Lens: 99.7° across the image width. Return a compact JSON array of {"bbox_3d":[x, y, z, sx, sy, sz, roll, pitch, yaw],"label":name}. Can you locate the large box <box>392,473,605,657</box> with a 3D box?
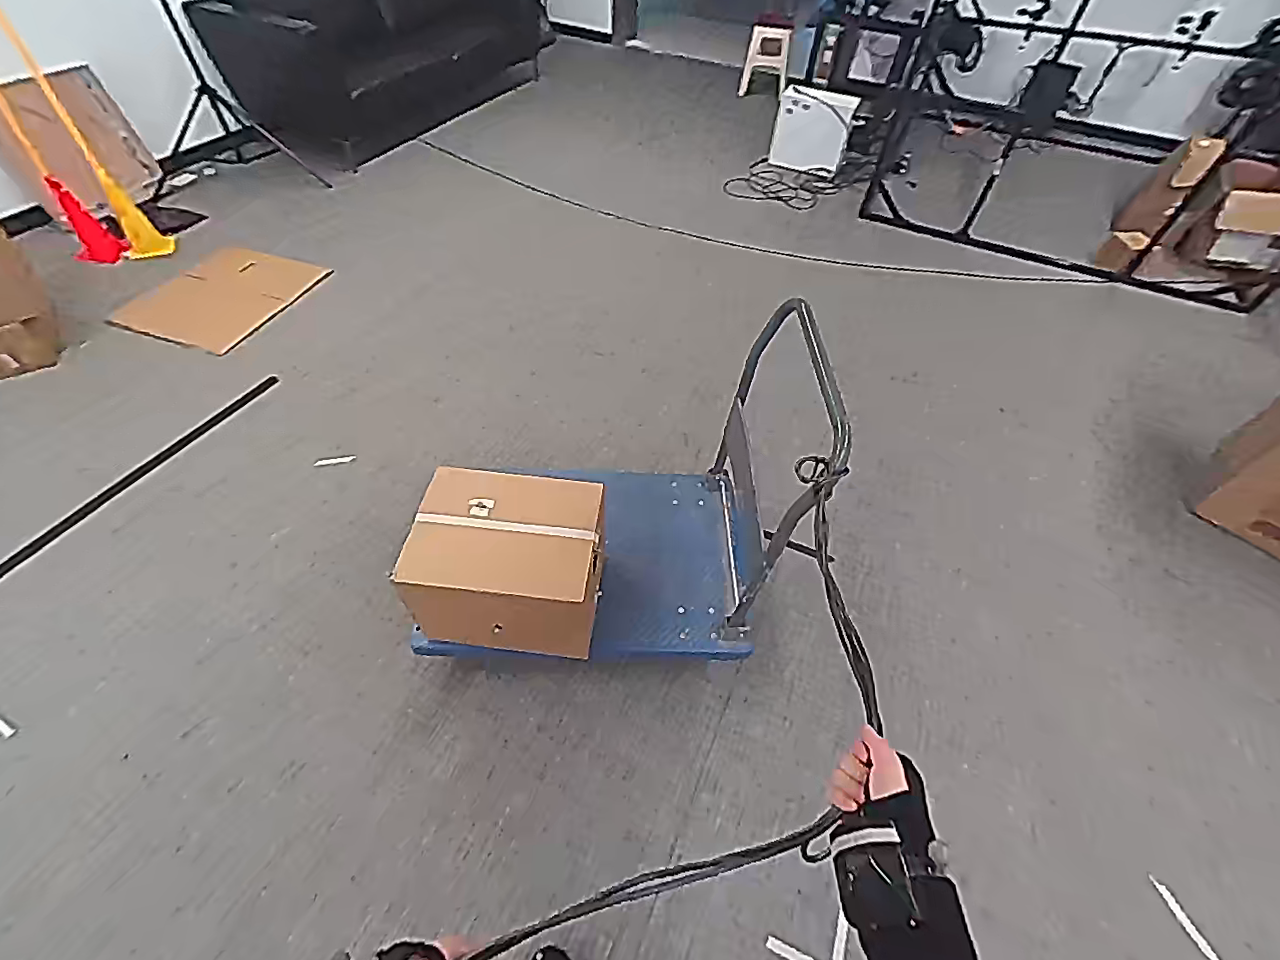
[{"bbox_3d":[-0.300,0.210,1.300,0.408,0.320,0.320,6,50,2],"label":"large box"}]
